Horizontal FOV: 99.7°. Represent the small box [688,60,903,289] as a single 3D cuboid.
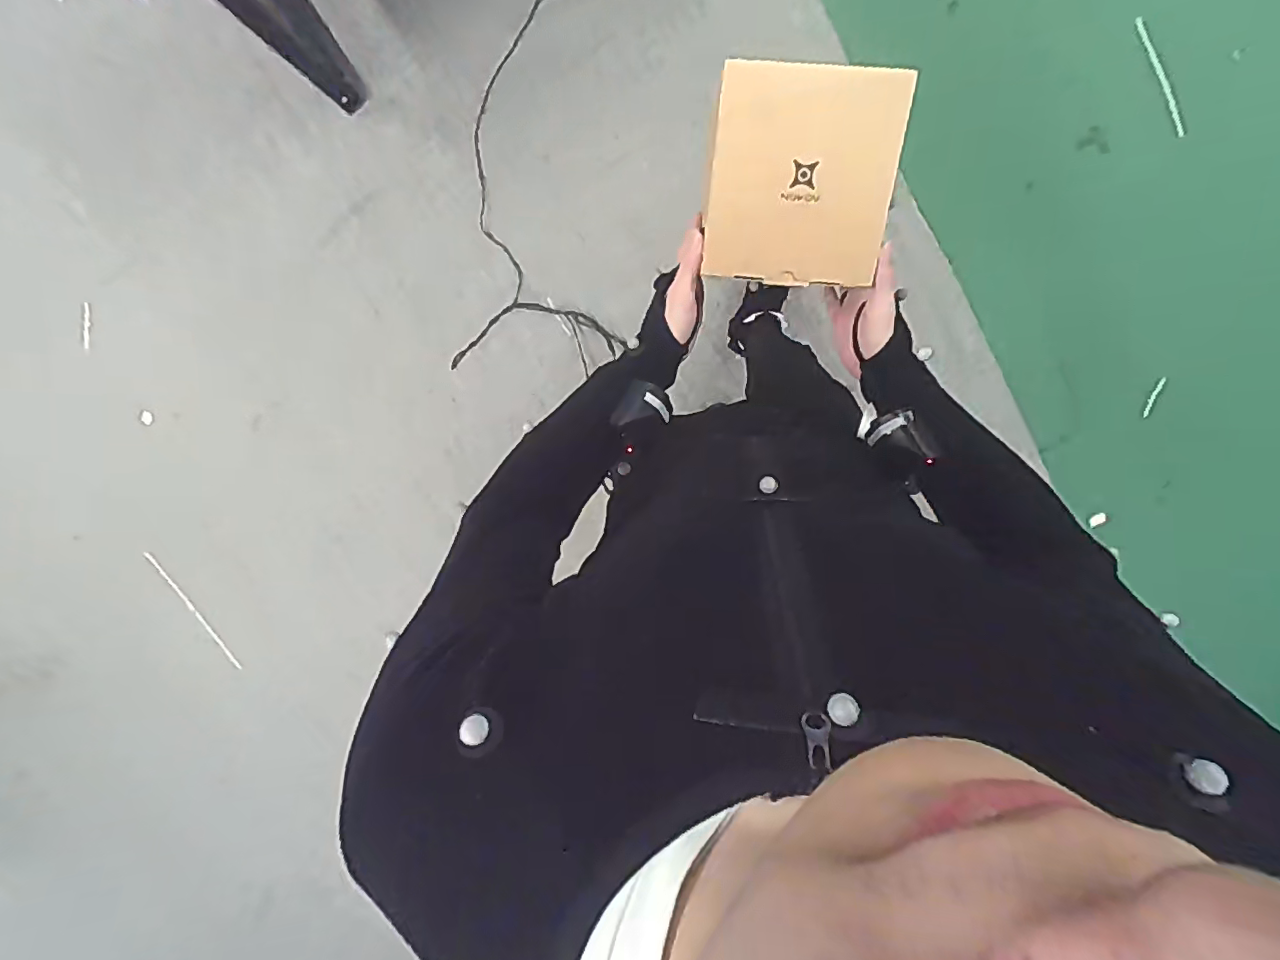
[{"bbox_3d":[0.141,-0.301,0.565,0.168,0.176,0.179,4,113,1],"label":"small box"}]
